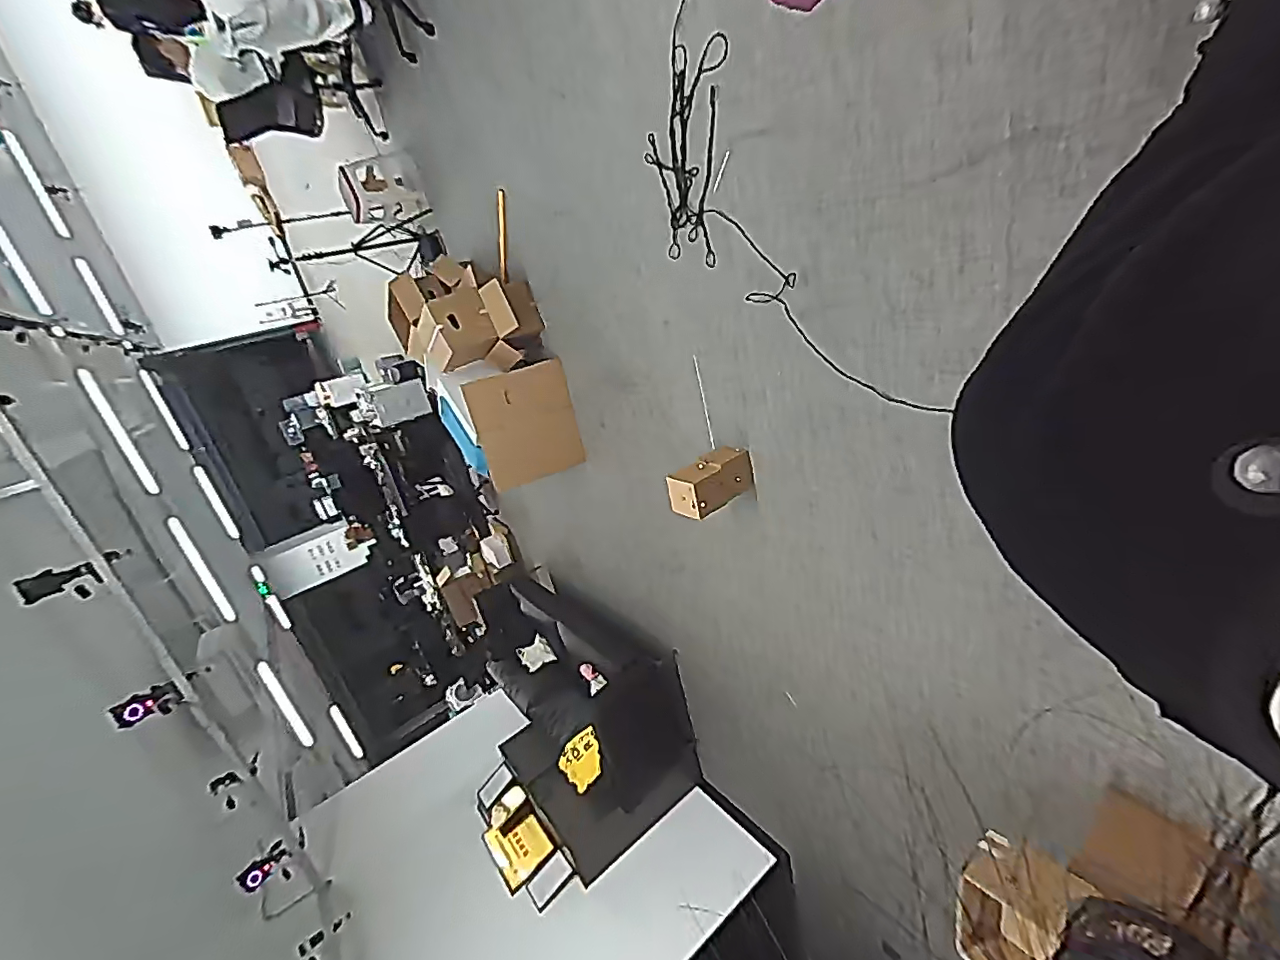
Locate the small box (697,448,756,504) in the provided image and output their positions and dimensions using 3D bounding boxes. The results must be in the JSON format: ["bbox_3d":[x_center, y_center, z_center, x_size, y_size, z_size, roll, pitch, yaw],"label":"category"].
[{"bbox_3d":[0.376,-0.024,2.327,0.168,0.176,0.179,16,127,53],"label":"small box"}]

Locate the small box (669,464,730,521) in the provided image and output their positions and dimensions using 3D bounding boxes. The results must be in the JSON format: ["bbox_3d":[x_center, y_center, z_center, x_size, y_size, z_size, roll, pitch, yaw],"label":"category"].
[{"bbox_3d":[0.250,0.046,2.249,0.179,0.176,0.168,18,129,53],"label":"small box"}]
